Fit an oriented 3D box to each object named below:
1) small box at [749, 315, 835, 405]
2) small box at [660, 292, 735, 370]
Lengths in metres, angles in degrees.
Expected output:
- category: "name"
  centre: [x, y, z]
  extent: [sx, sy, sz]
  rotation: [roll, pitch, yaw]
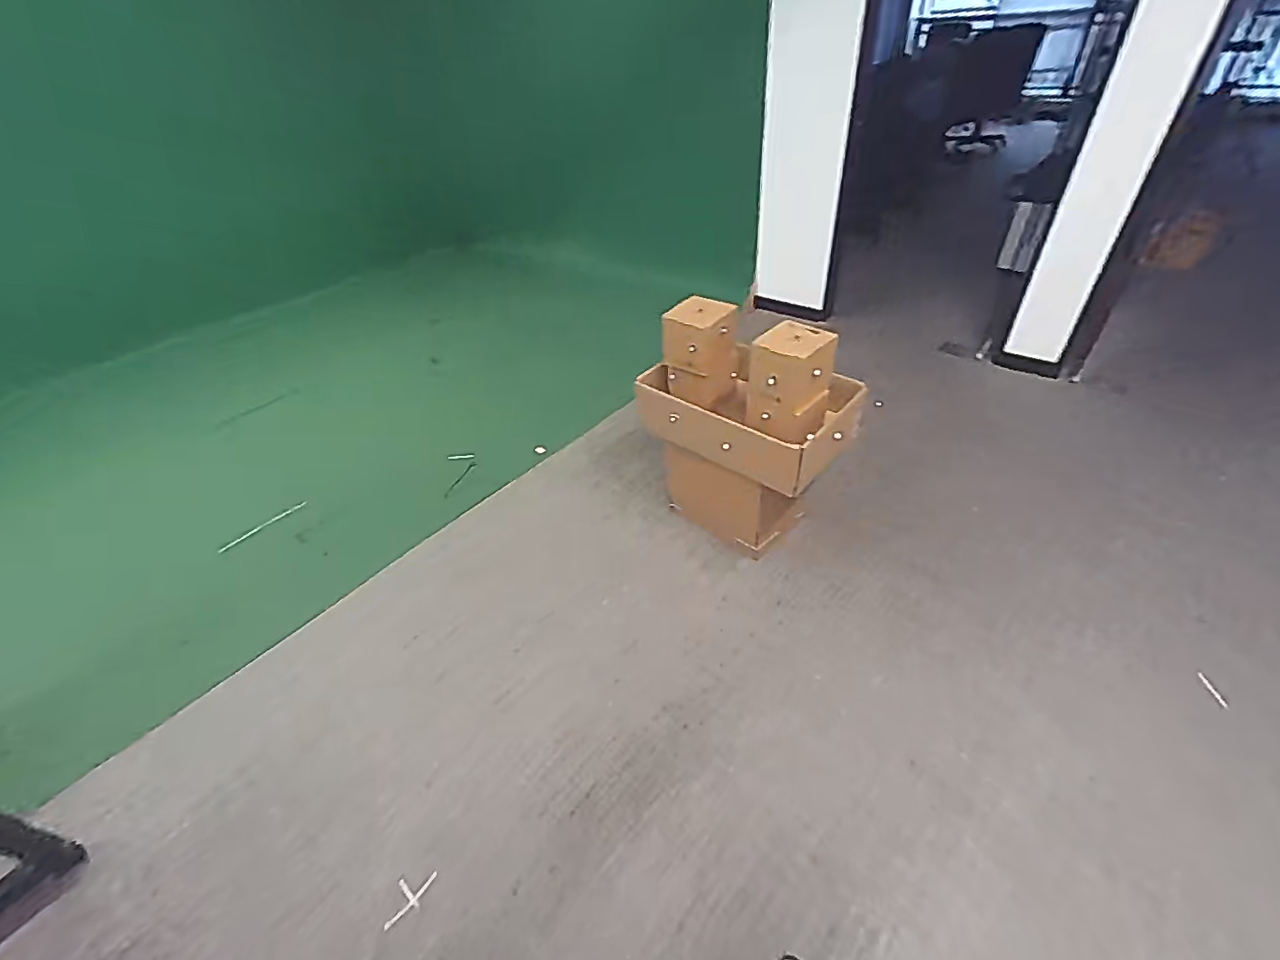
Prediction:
- category: "small box"
  centre: [0.422, -0.335, 1.517]
  extent: [0.168, 0.176, 0.179]
  rotation: [31, 54, 34]
- category: "small box"
  centre: [0.183, -0.466, 1.696]
  extent: [0.168, 0.176, 0.179]
  rotation: [26, 50, 30]
